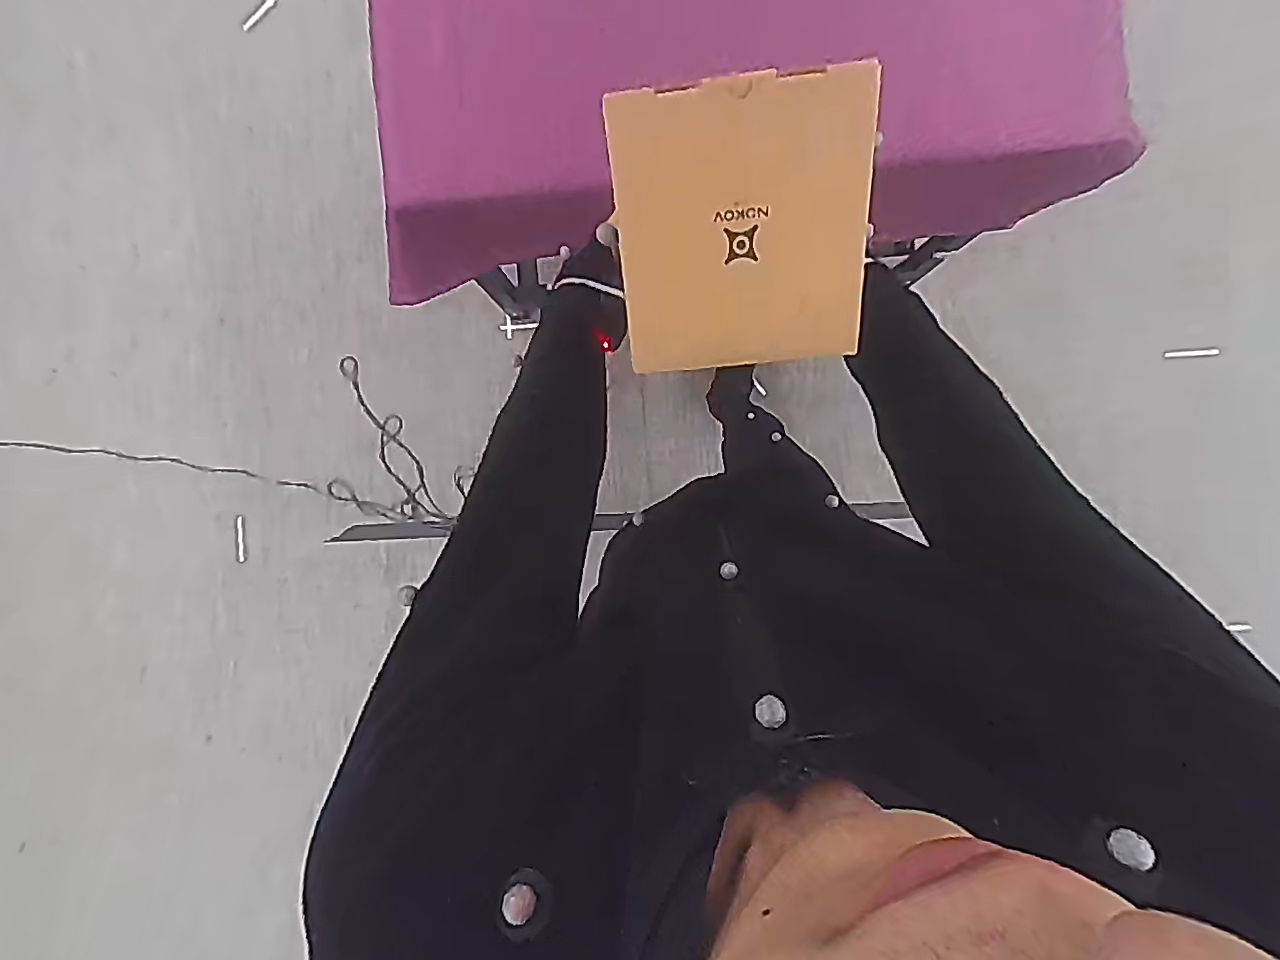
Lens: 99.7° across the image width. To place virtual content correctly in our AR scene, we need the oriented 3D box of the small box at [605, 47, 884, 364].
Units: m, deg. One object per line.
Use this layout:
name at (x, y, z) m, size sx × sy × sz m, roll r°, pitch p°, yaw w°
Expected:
small box at (0.071, -0.205, 0.426) m, size 0.168 × 0.176 × 0.179 m, roll -5°, pitch 117°, yaw 4°
